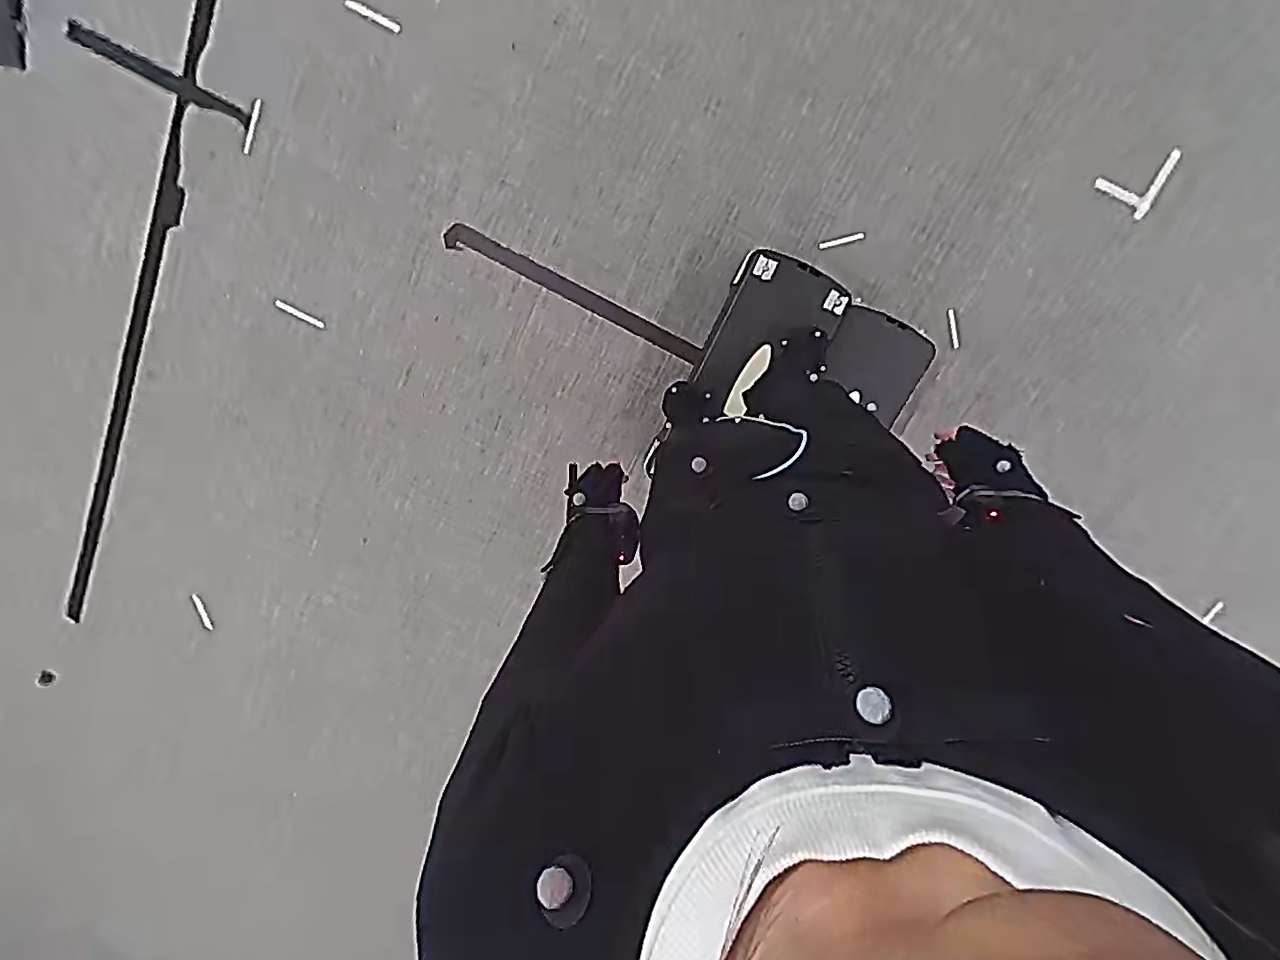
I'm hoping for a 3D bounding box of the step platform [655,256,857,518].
[{"bbox_3d":[0.298,-0.239,1.479,0.286,0.204,0.684,24,103,-3],"label":"step platform"}]
